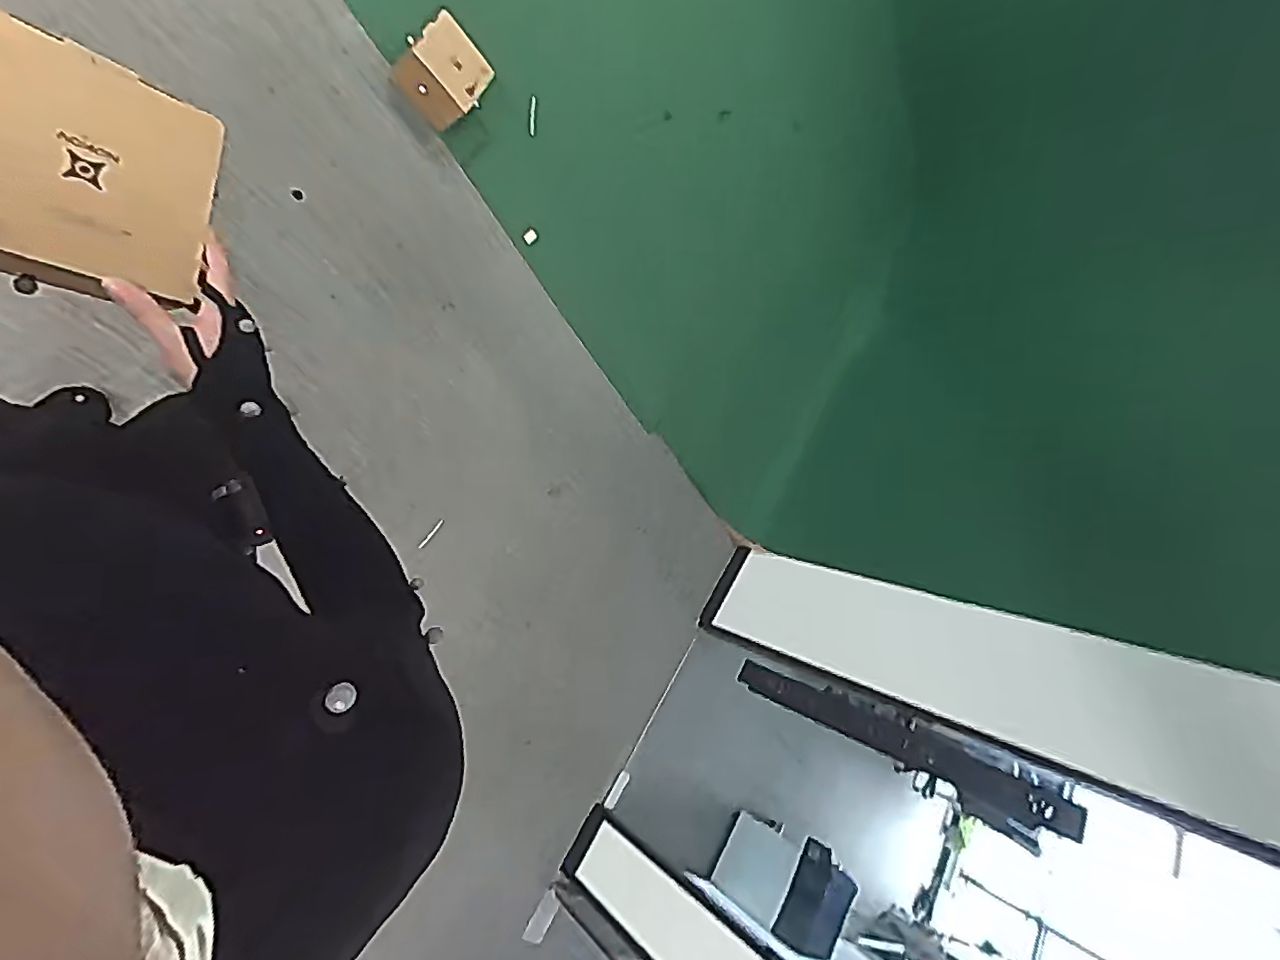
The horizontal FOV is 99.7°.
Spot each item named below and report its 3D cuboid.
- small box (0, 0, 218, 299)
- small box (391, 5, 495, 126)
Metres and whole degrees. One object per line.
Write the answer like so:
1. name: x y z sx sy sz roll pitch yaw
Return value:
1. small box: -0.511 -0.277 0.481 0.168 0.176 0.179 10 91 -50
2. small box: -0.539 -1.116 1.472 0.179 0.176 0.168 40 70 -41
